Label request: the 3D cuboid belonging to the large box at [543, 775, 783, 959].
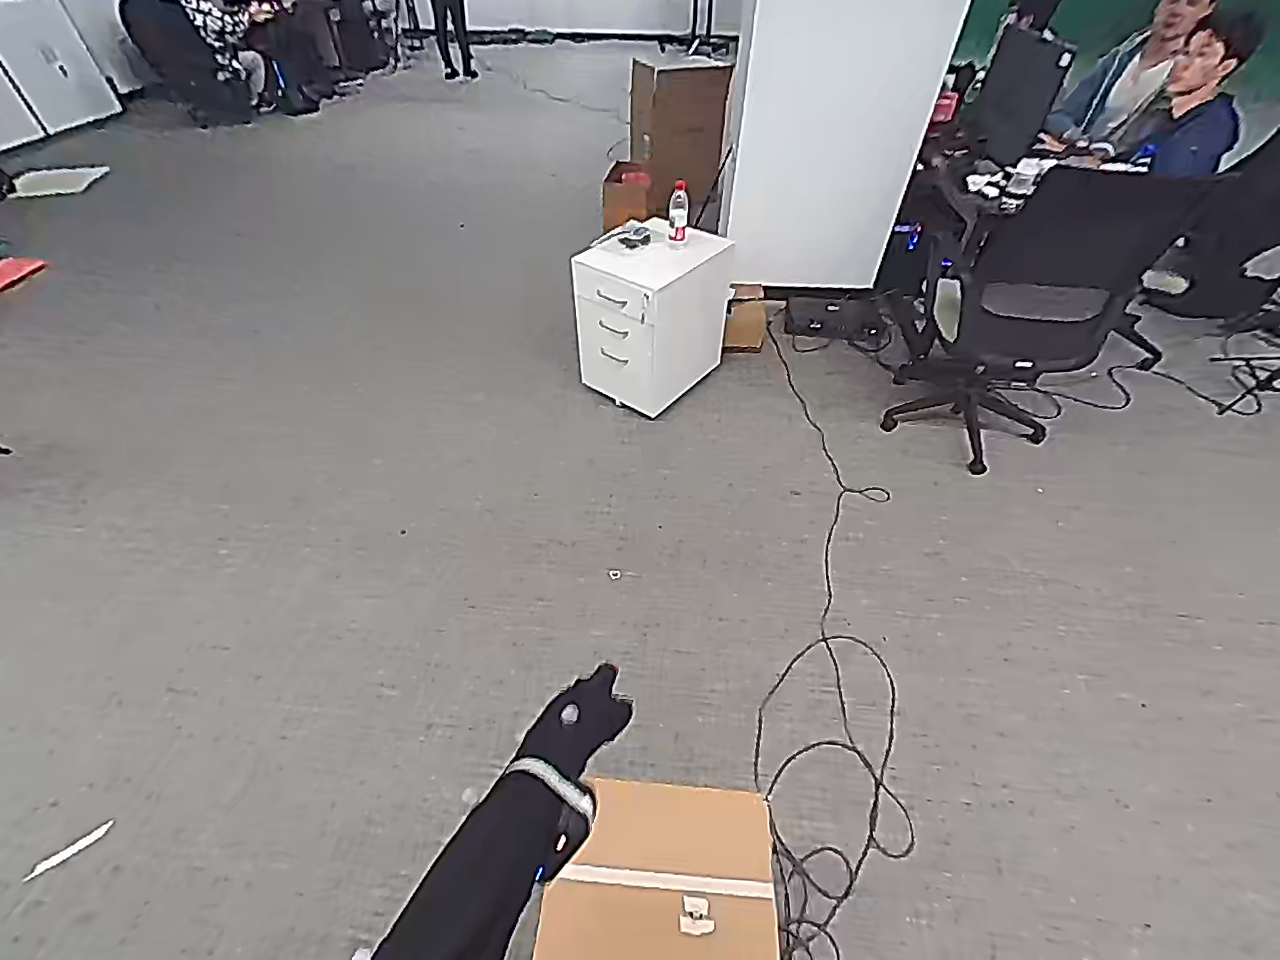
[{"bbox_3d":[0.044,0.816,1.072,0.408,0.320,0.320,3,46,4],"label":"large box"}]
